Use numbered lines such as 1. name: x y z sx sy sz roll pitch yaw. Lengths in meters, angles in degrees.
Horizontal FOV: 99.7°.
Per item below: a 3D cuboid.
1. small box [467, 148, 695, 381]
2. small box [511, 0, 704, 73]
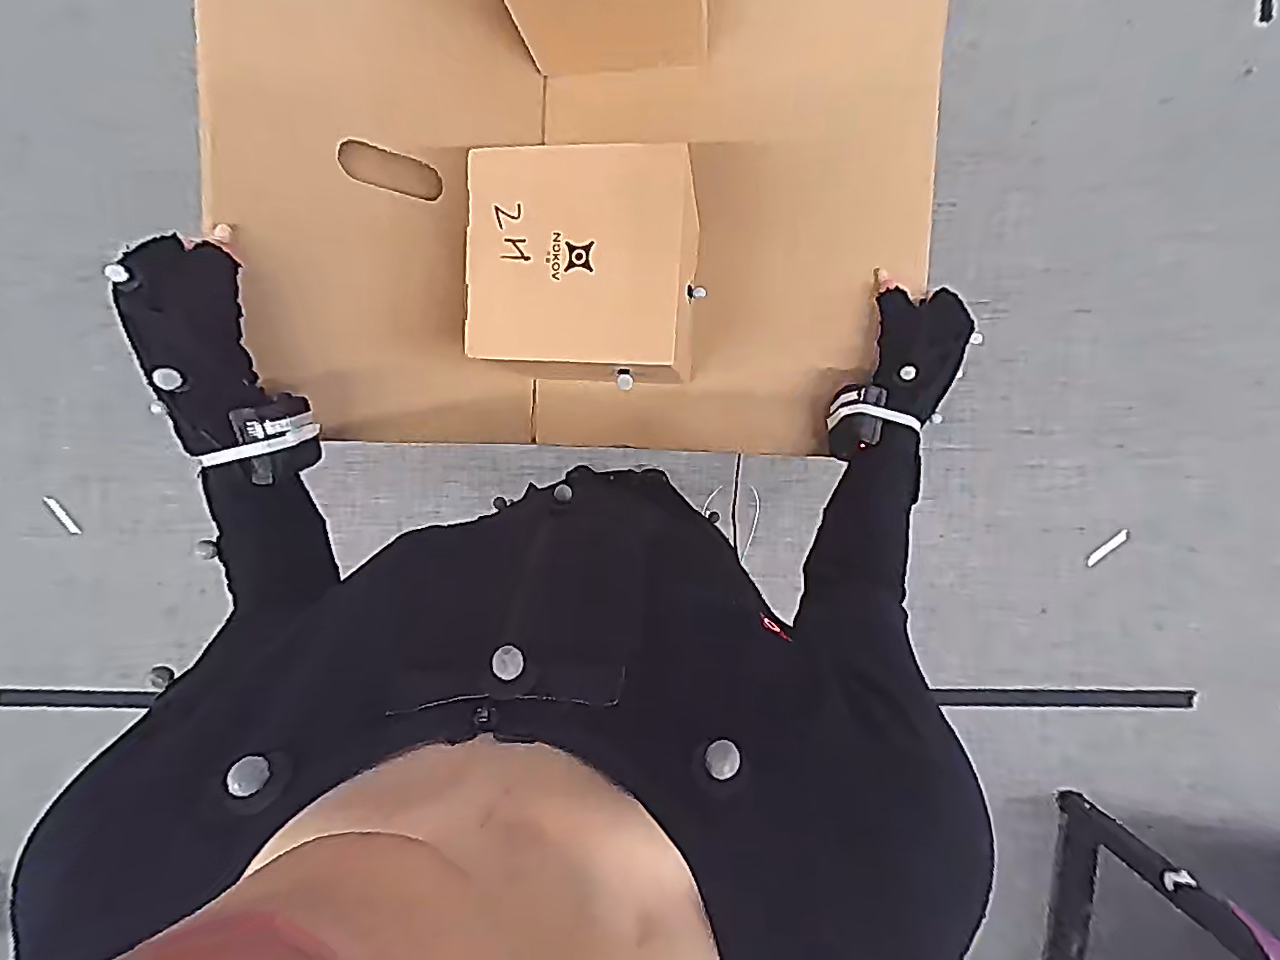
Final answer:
1. small box: -0.042 -0.186 0.512 0.179 0.176 0.168 5 95 10
2. small box: -0.033 -0.505 0.485 0.179 0.176 0.168 2 95 9
